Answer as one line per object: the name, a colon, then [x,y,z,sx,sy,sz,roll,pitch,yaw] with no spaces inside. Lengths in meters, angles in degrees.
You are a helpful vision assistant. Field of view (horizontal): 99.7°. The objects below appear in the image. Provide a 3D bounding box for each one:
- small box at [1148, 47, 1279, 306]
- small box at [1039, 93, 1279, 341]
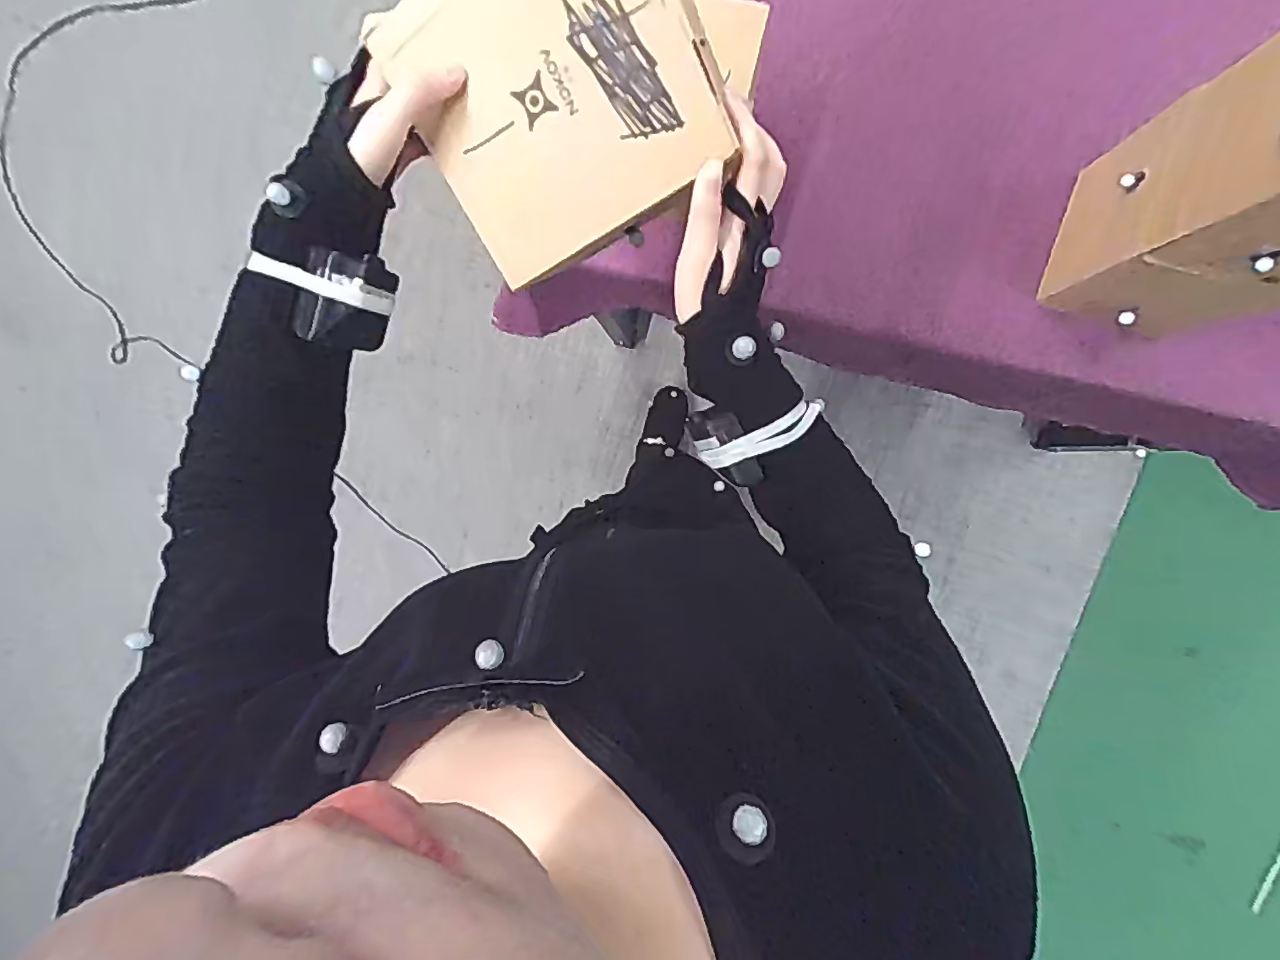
small box: [0.589,-0.268,0.446,0.168,0.176,0.179,18,95,4]
small box: [0.602,-0.277,0.609,0.168,0.176,0.179,18,95,5]
